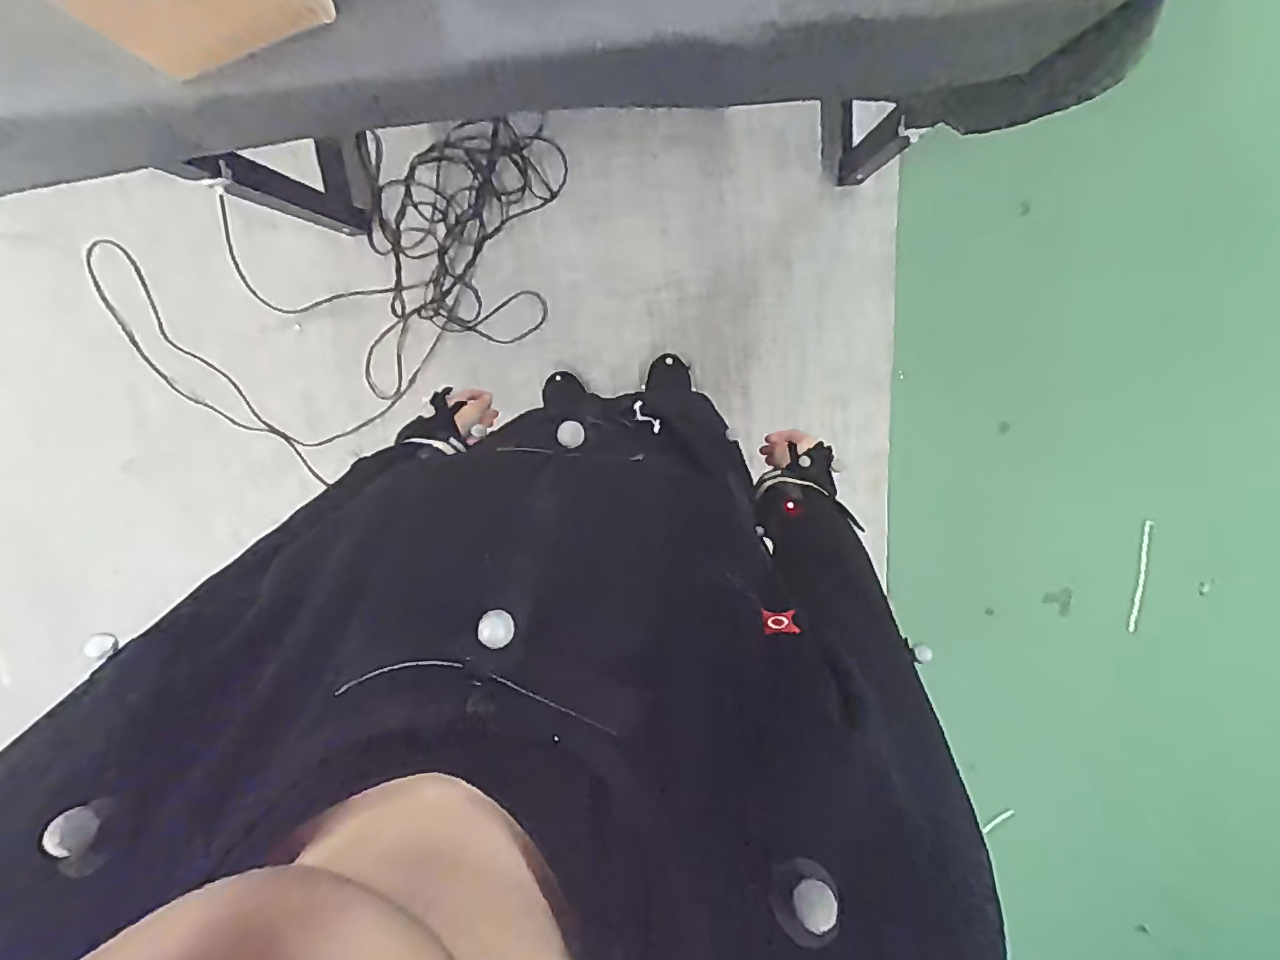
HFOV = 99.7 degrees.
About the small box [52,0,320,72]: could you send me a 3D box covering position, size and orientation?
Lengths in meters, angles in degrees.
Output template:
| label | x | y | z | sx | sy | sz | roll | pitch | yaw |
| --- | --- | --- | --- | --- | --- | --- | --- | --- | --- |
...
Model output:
| label | x | y | z | sx | sy | sz | roll | pitch | yaw |
| --- | --- | --- | --- | --- | --- | --- | --- | --- | --- |
| small box | -0.394 | -0.477 | 0.431 | 0.179 | 0.176 | 0.168 | -16 | 102 | 5 |
